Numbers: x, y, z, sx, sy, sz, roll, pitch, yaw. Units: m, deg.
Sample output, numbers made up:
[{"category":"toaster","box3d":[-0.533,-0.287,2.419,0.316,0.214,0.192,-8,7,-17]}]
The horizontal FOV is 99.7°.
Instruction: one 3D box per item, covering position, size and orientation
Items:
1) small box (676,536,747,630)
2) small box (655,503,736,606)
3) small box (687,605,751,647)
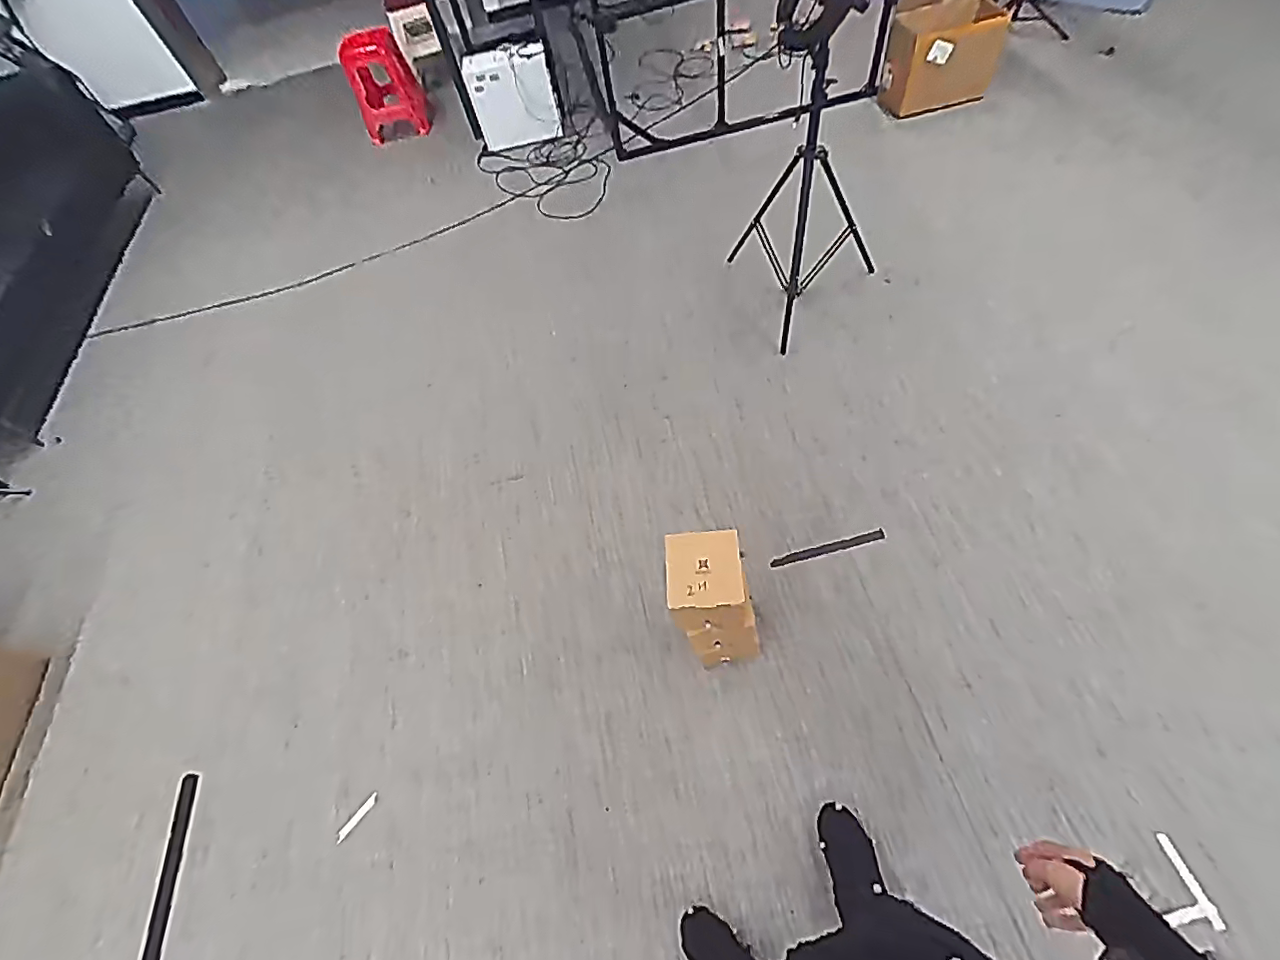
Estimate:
[{"category":"small box","box3d":[0.166,0.257,1.347,0.168,0.176,0.179,-10,59,4]},{"category":"small box","box3d":[0.124,0.171,1.213,0.168,0.176,0.179,-5,60,7]},{"category":"small box","box3d":[0.200,0.340,1.482,0.168,0.176,0.179,-12,58,3]}]
